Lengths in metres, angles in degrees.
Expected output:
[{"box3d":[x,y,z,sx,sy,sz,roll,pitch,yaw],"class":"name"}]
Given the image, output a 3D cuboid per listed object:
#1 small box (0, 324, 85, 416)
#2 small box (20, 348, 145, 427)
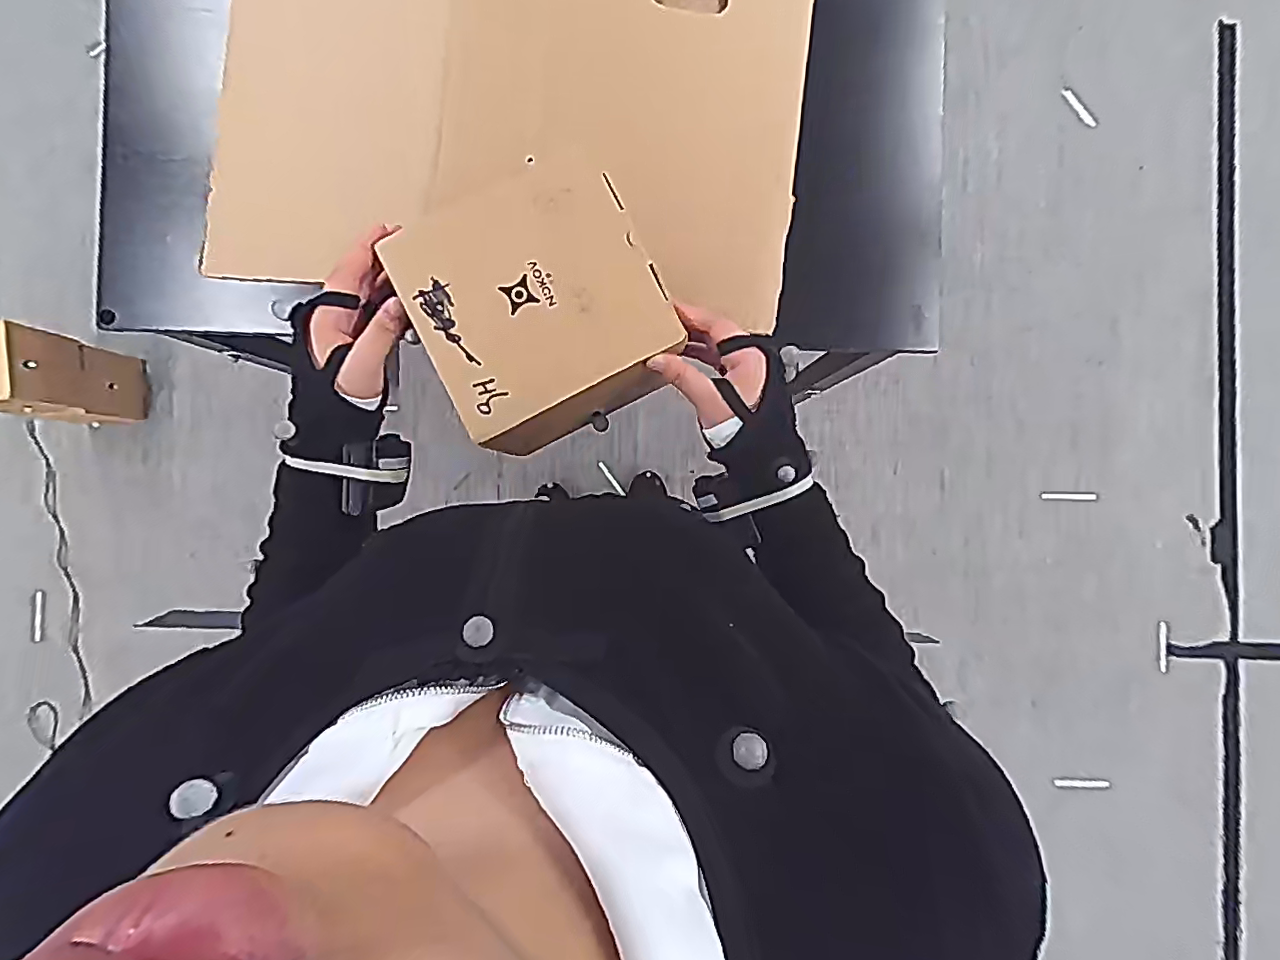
[{"box3d":[-1.448,-0.246,1.251,0.168,0.176,0.179,-5,88,-1],"class":"small box"},{"box3d":[-1.450,-0.237,1.414,0.168,0.176,0.179,-3,90,-1],"class":"small box"}]
